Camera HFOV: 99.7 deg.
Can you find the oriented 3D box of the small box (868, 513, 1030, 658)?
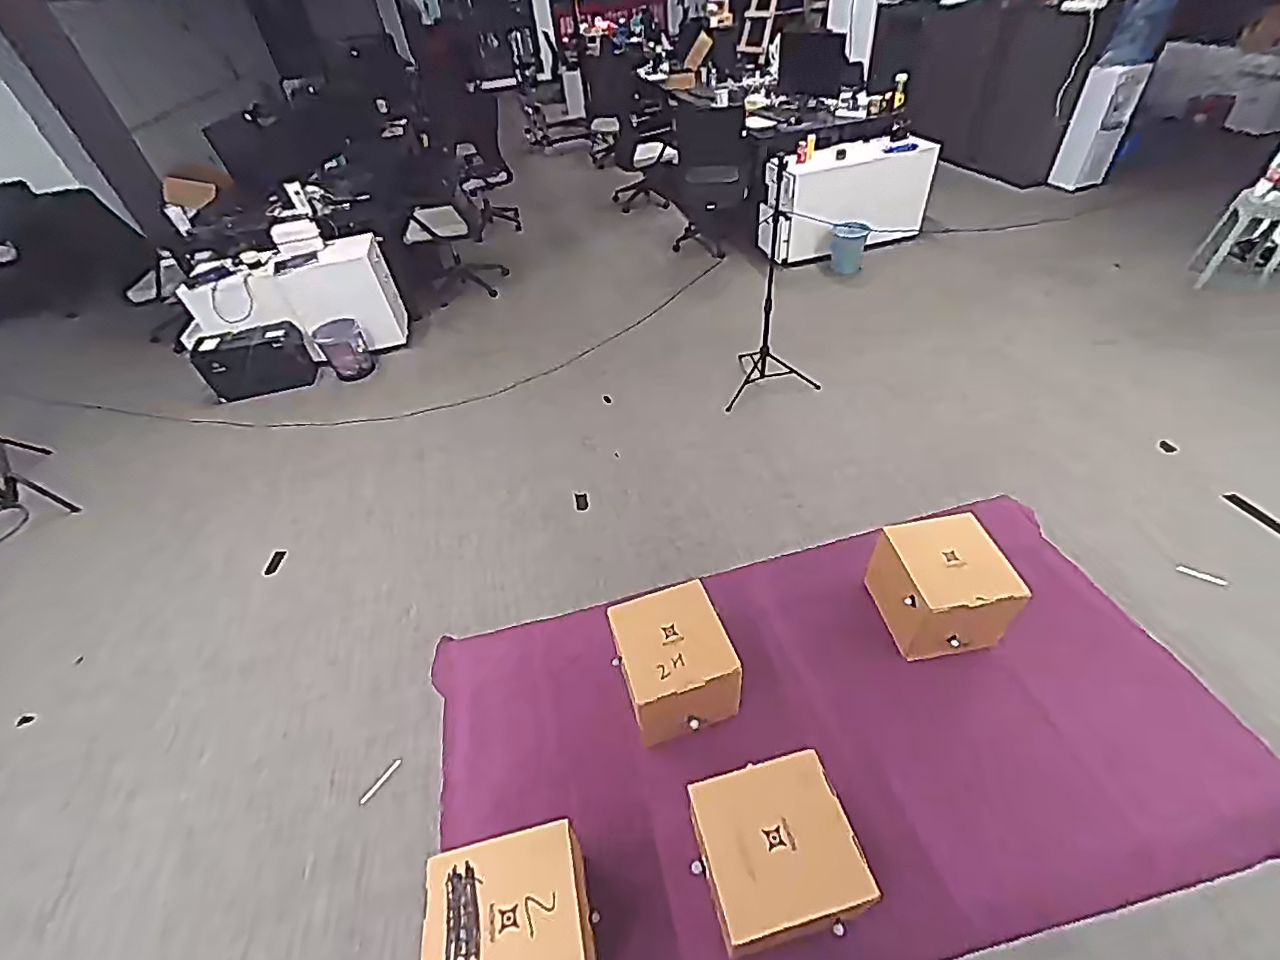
[{"bbox_3d":[0.527,0.187,0.956,0.168,0.176,0.179,-10,45,-1],"label":"small box"}]

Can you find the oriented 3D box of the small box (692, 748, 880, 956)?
[{"bbox_3d":[0.170,0.478,0.696,0.179,0.176,0.168,-12,43,-7],"label":"small box"}]

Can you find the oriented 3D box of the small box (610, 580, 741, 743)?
[{"bbox_3d":[0.056,0.302,0.901,0.168,0.176,0.179,-16,44,-9],"label":"small box"}]
